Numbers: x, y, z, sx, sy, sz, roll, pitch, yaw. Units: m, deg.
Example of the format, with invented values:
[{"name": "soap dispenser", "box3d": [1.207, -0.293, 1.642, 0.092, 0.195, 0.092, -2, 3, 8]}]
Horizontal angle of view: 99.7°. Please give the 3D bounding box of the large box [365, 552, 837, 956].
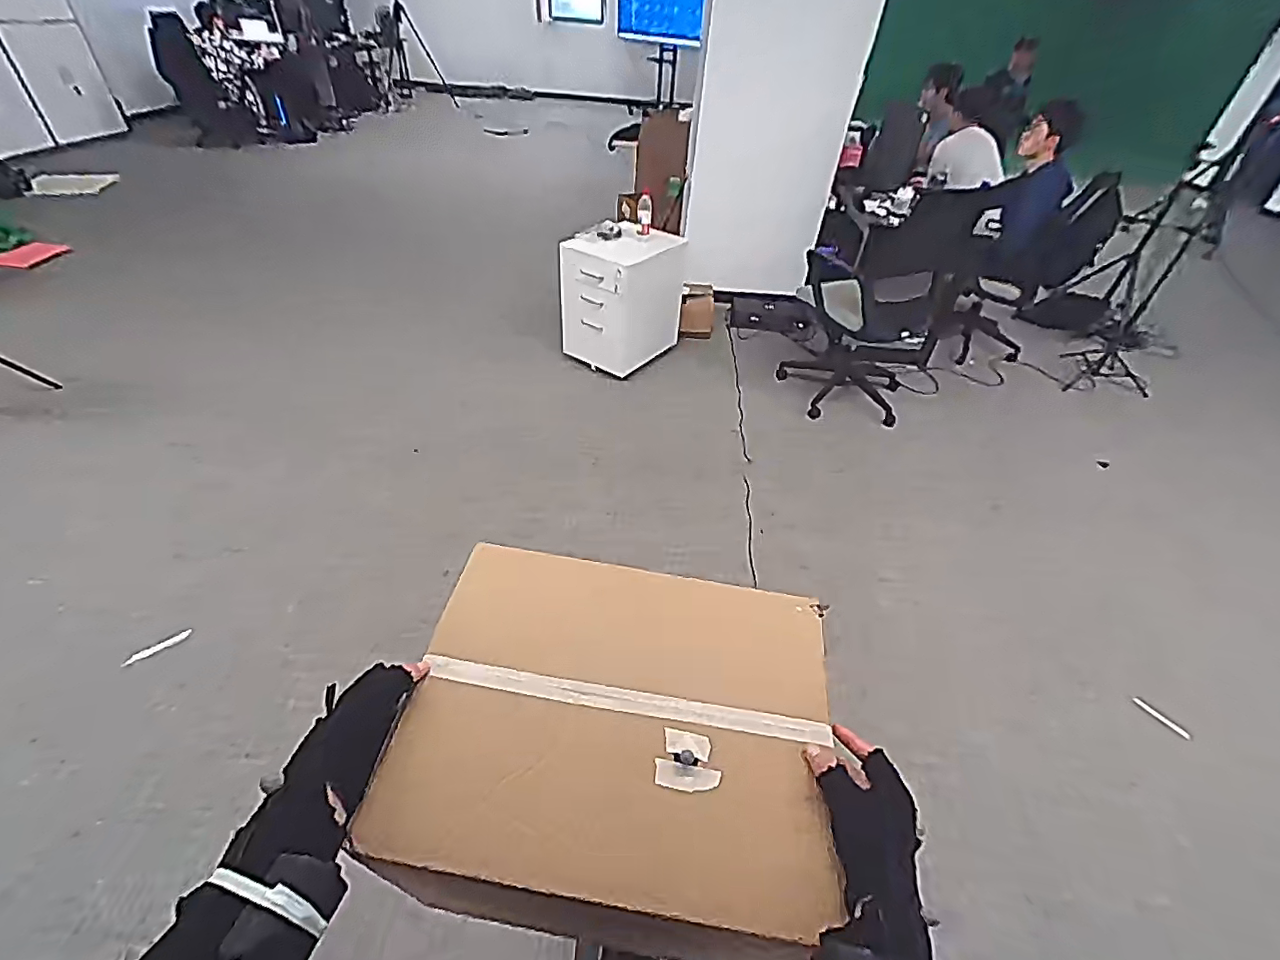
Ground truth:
[{"name": "large box", "box3d": [-0.029, 0.325, 0.650, 0.408, 0.320, 0.320, 9, 46, 3]}]
